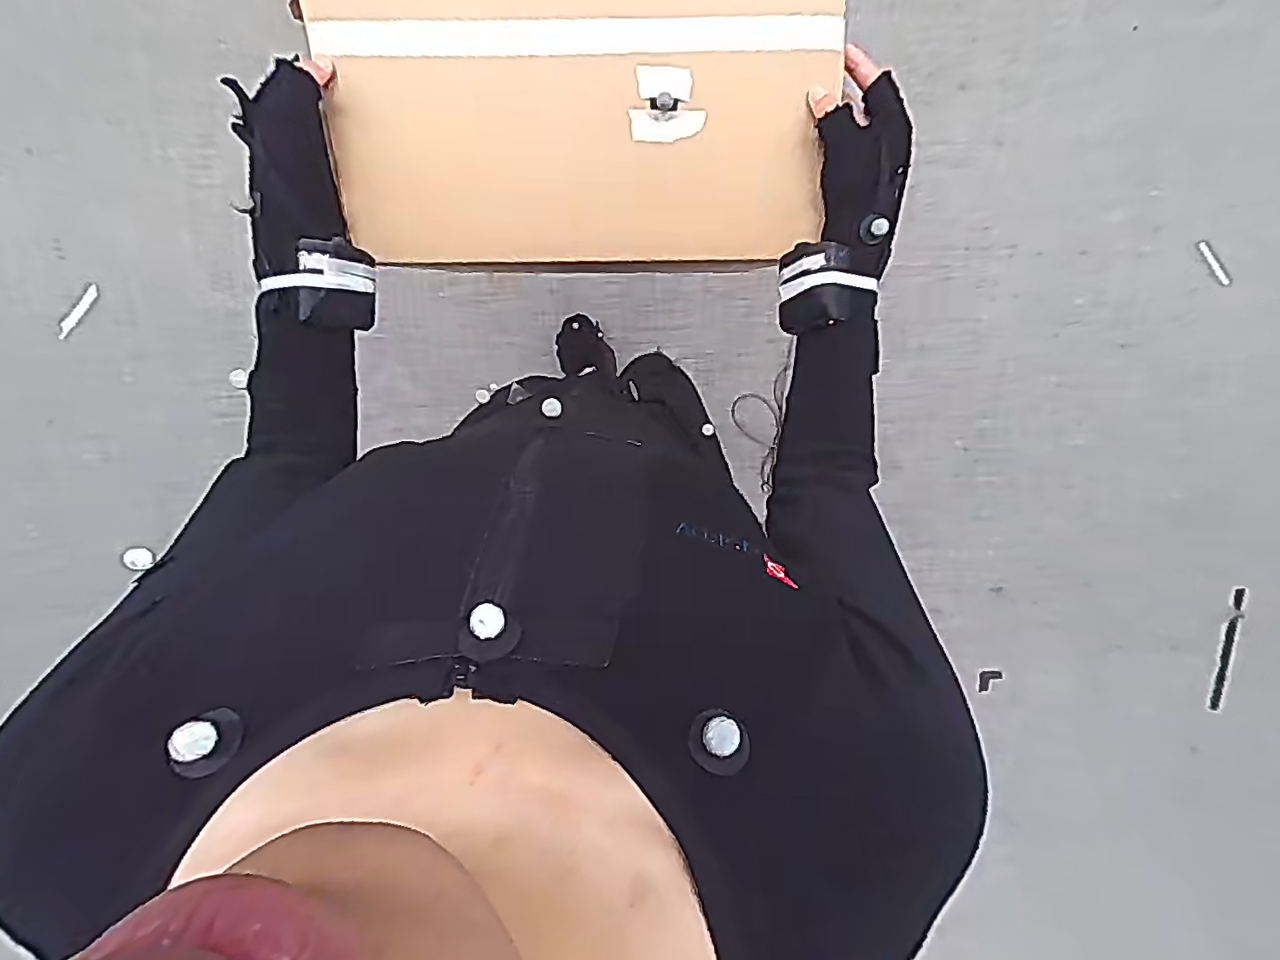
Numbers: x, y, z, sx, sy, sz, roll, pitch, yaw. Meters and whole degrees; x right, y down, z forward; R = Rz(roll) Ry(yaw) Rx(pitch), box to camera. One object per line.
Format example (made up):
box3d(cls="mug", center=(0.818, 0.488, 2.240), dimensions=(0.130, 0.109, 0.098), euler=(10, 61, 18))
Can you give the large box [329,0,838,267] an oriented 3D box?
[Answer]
box3d(cls="large box", center=(-0.047, -0.400, 0.568), dimensions=(0.408, 0.320, 0.320), euler=(-1, 111, -1))
